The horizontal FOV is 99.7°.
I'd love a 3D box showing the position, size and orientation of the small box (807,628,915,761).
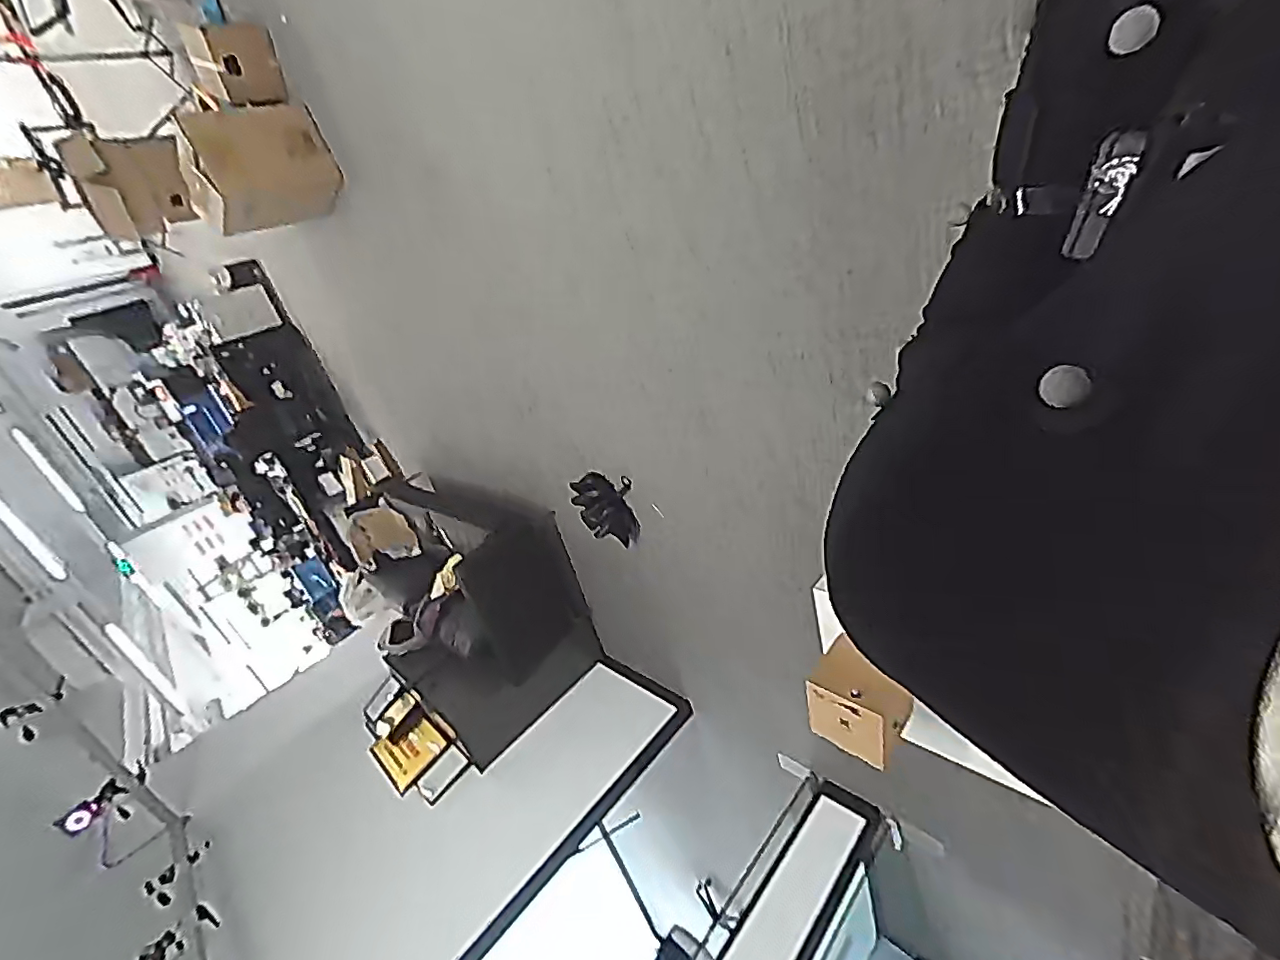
[{"bbox_3d":[0.491,0.464,1.193,0.168,0.176,0.179,15,131,43],"label":"small box"}]
